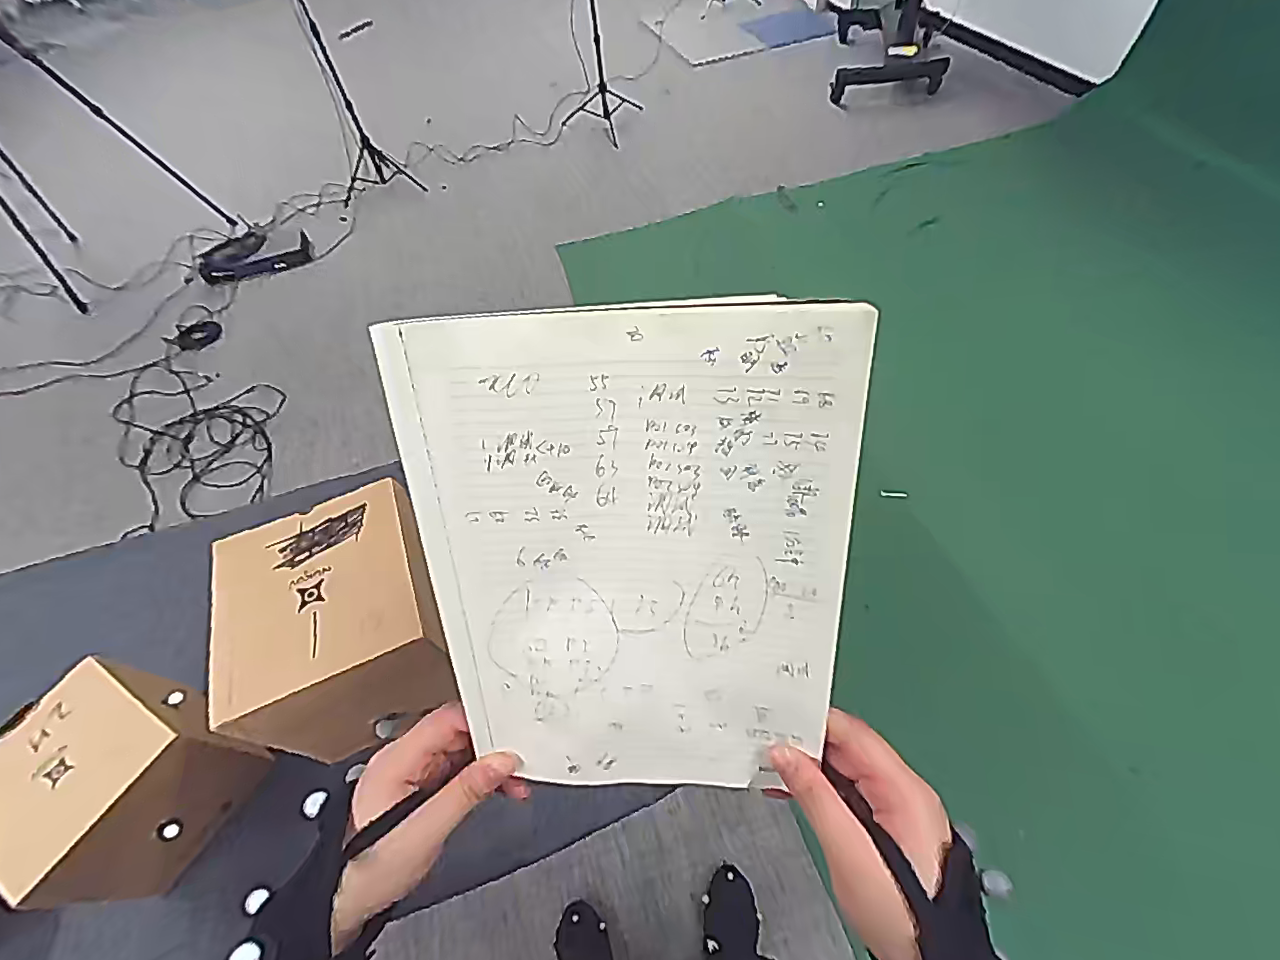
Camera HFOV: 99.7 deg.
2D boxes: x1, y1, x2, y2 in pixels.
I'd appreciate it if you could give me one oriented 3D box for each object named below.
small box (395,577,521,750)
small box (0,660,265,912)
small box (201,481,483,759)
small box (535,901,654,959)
[{"bbox_3d":[-0.263,0.220,0.662,0.179,0.176,0.168,5,56,10],"label":"small box"},{"bbox_3d":[-0.583,0.337,0.610,0.179,0.176,0.168,23,60,20],"label":"small box"},{"bbox_3d":[-0.270,0.138,0.519,0.168,0.176,0.179,-23,56,-9],"label":"small box"},{"bbox_3d":[-0.091,0.940,1.013,0.176,0.168,0.179,43,39,-2],"label":"small box"}]
